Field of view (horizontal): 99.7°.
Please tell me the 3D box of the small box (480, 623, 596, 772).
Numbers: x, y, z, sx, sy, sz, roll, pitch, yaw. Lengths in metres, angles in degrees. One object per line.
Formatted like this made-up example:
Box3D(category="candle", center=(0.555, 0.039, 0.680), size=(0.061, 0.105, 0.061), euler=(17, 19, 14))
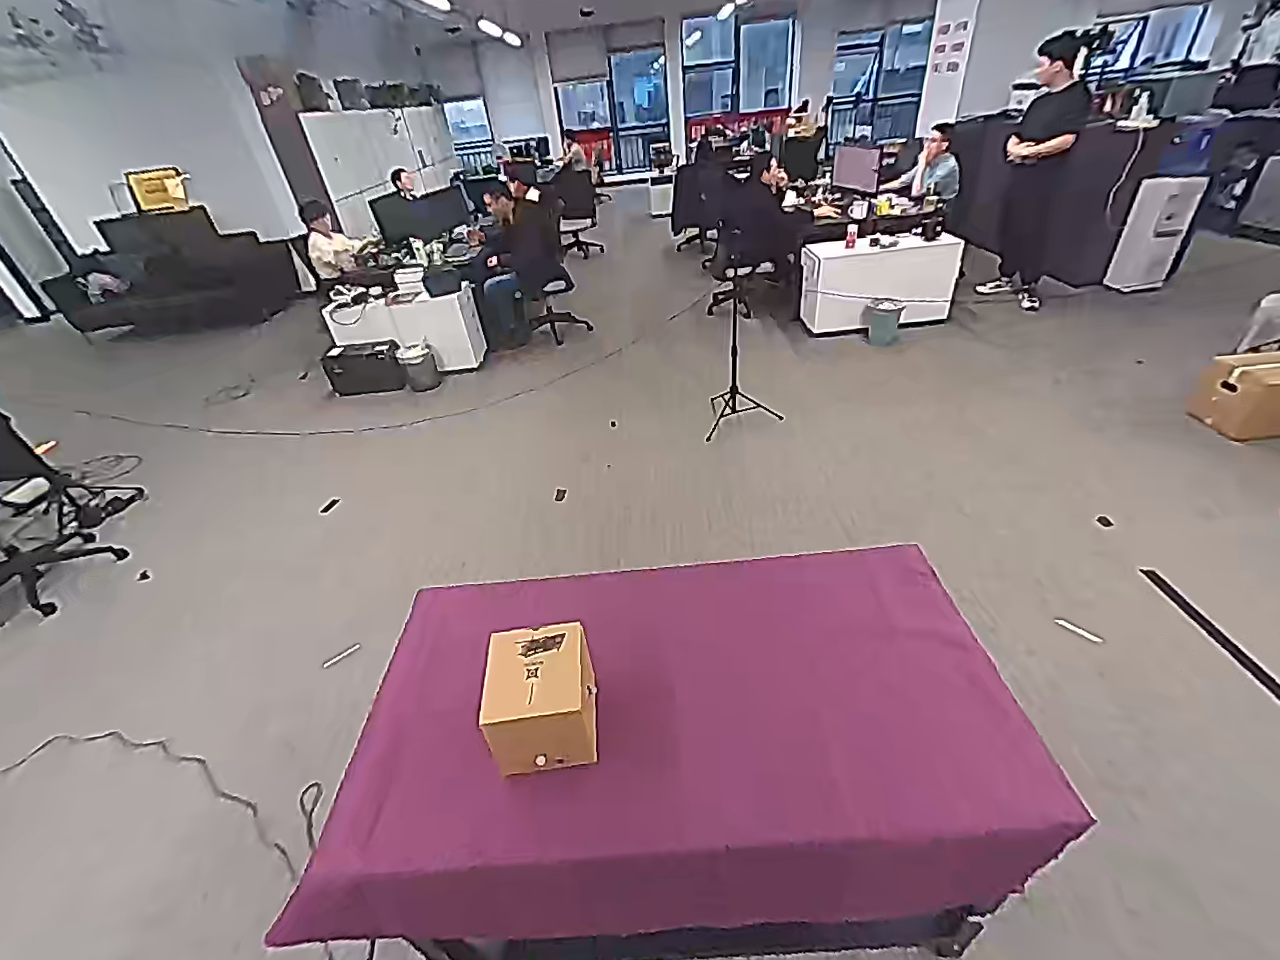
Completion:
Box3D(category="small box", center=(-0.171, 0.386, 0.964), size=(0.168, 0.176, 0.179), euler=(-8, 36, -1))
